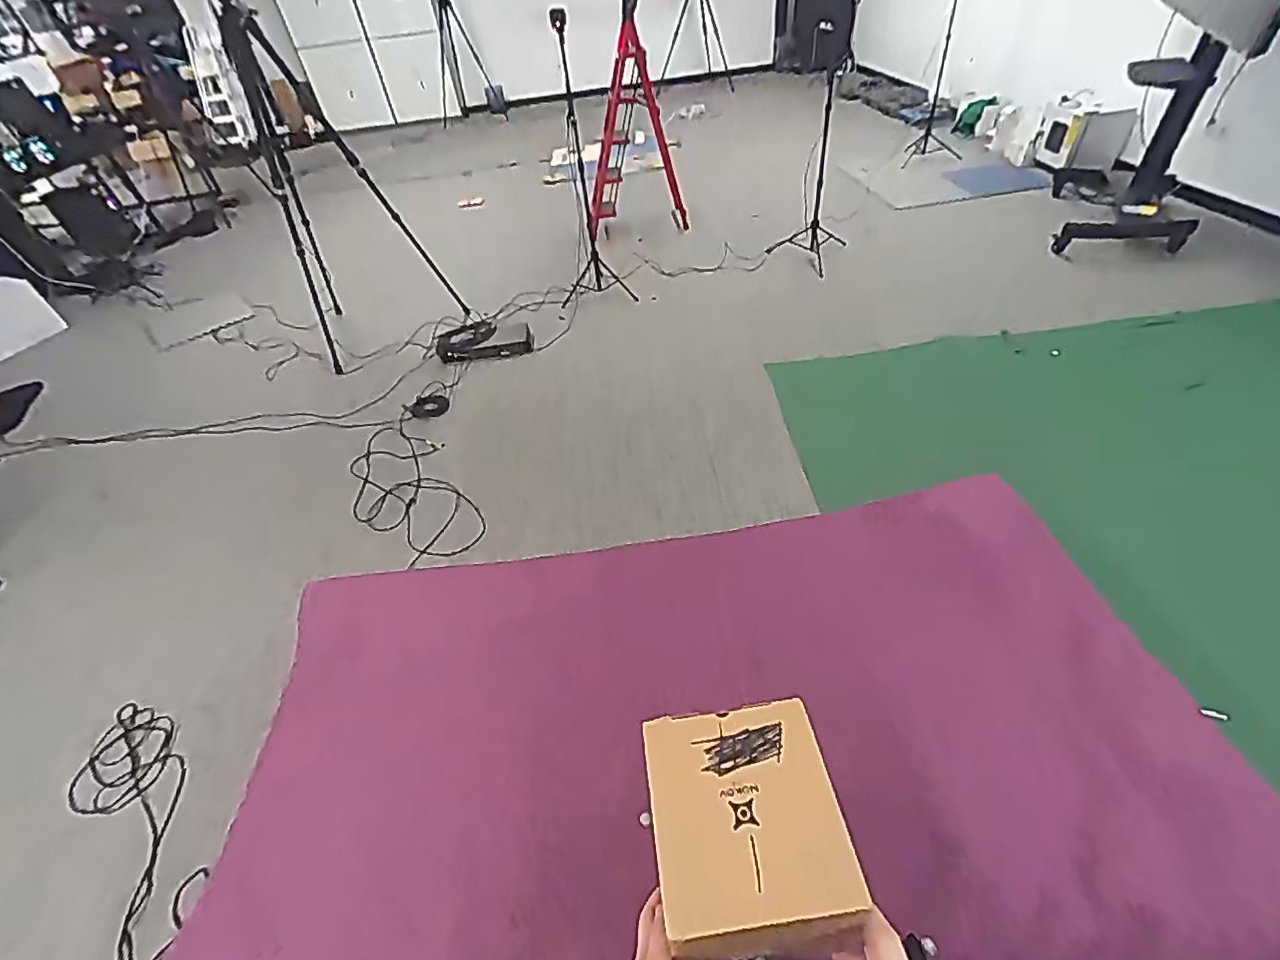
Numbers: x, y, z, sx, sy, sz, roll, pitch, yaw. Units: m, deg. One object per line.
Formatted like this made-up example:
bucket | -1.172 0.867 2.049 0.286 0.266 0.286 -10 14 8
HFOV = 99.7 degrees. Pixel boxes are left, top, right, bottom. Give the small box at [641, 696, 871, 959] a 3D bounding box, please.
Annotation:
small box | 0.095 0.340 0.523 0.168 0.176 0.179 -9 41 0
